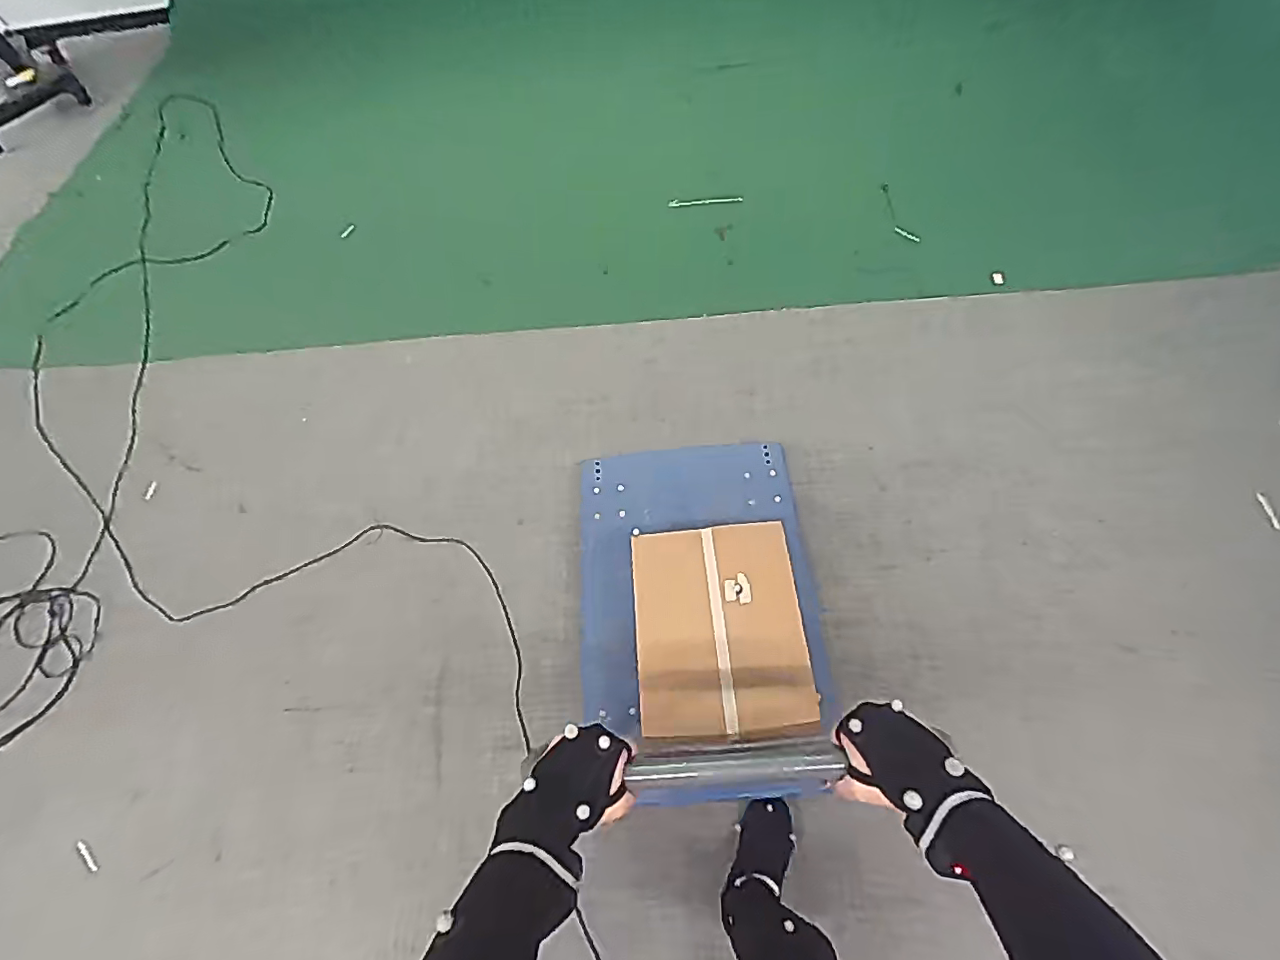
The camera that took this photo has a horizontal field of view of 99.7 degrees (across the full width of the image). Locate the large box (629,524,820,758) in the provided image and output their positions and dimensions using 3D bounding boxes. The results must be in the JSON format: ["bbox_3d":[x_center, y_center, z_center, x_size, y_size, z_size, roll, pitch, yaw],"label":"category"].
[{"bbox_3d":[0.160,0.354,1.161,0.320,0.320,0.408,-6,60,3],"label":"large box"}]
